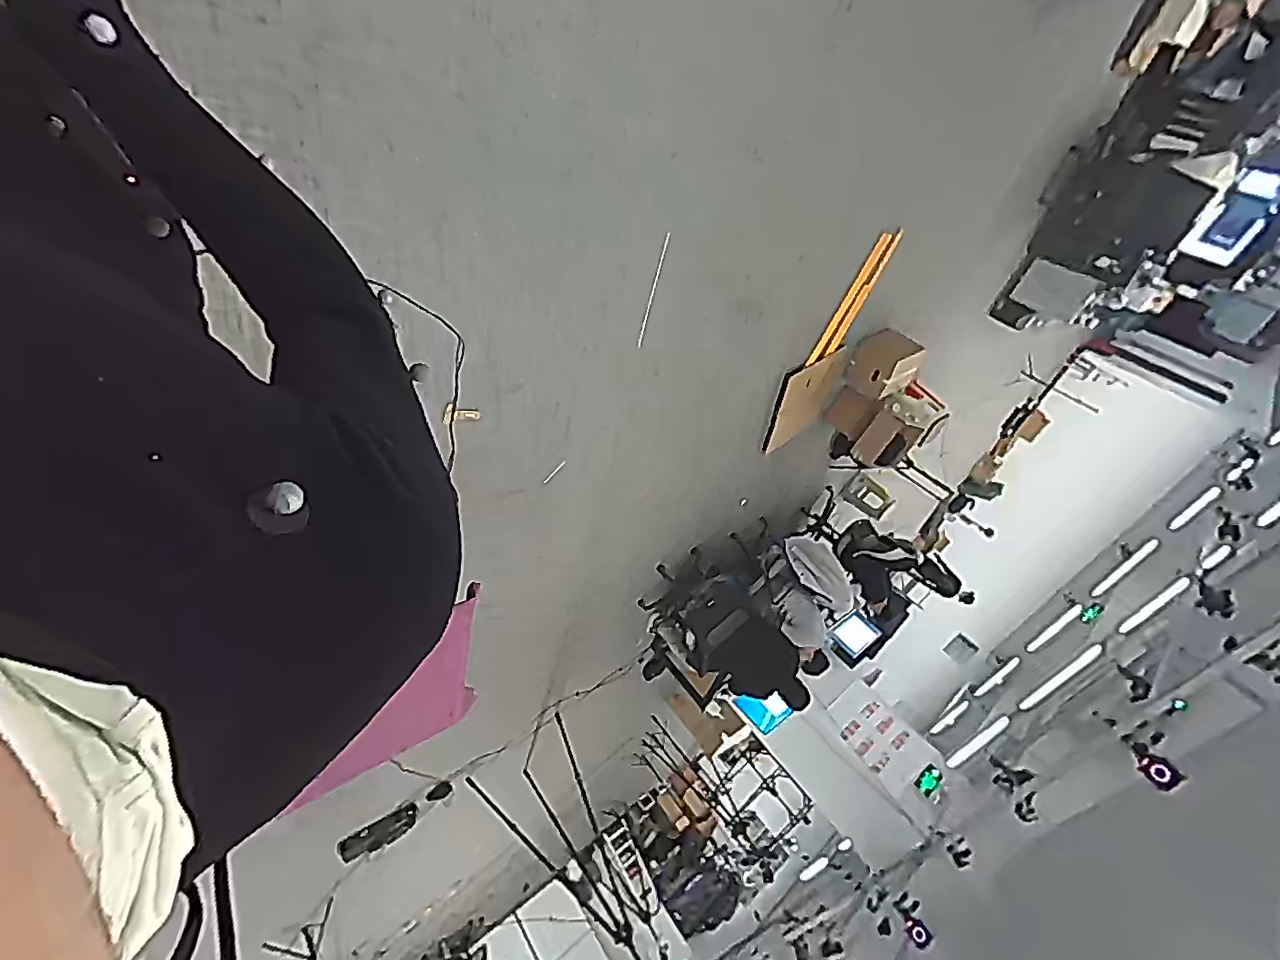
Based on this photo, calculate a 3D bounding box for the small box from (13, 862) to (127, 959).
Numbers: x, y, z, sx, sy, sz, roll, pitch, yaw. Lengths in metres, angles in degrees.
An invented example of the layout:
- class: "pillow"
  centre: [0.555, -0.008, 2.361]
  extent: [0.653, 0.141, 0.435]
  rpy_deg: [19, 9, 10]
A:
- class: "small box"
  centre: [-1.202, 0.943, 1.123]
  extent: [0.168, 0.176, 0.179]
  rpy_deg: [-12, 136, -43]

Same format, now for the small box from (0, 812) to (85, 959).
- class: "small box"
  centre: [-1.135, 0.738, 0.958]
  extent: [0.179, 0.176, 0.168]
  rpy_deg: [-14, 138, -43]
